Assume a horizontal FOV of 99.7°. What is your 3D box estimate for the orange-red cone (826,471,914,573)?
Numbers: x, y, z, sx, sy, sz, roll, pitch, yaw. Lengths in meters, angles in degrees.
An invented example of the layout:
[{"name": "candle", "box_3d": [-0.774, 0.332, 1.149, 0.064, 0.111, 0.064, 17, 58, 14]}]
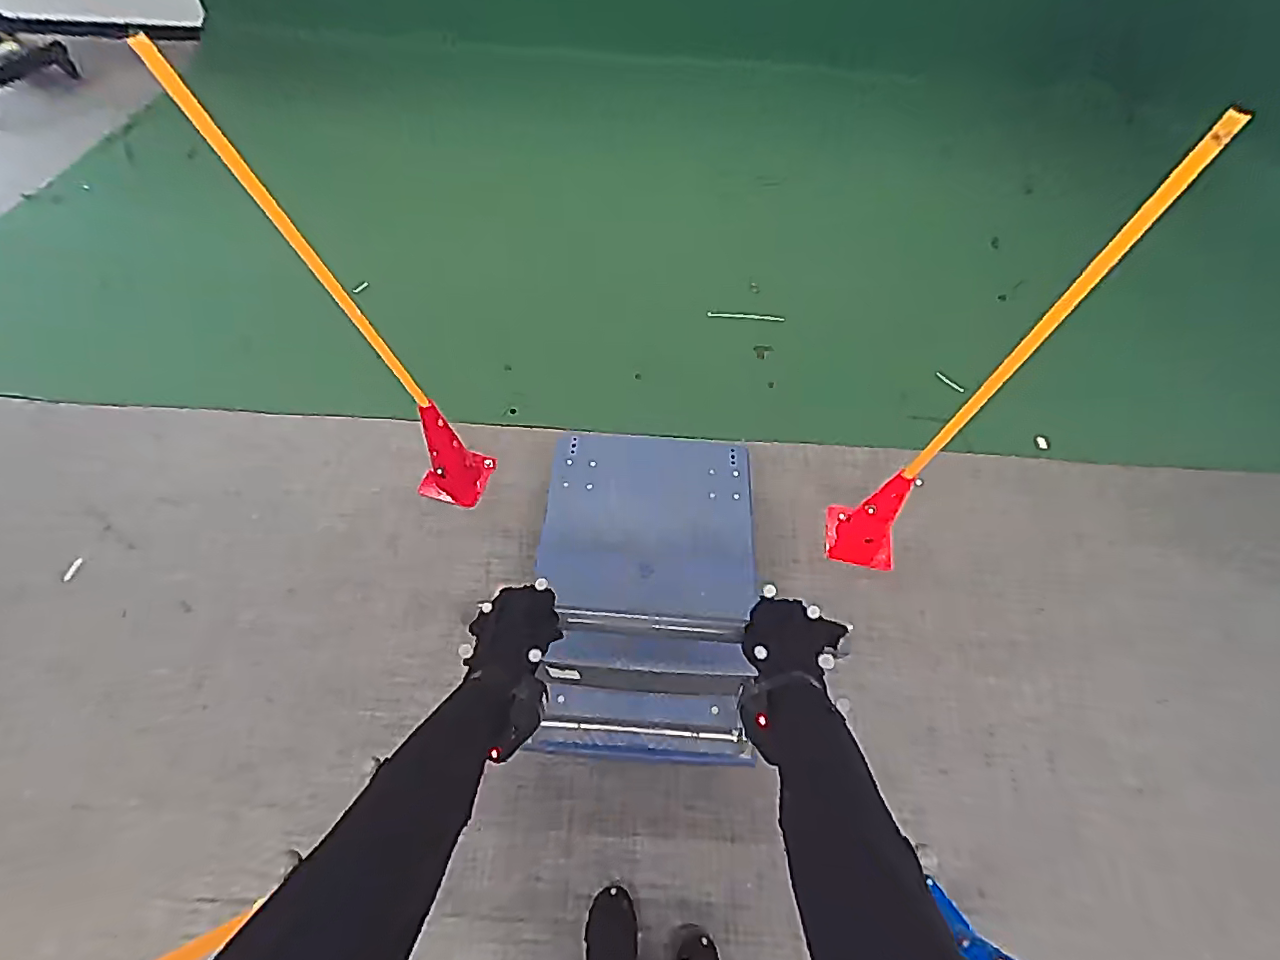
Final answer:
[{"name": "orange-red cone", "box_3d": [0.683, 0.090, 1.531, 0.198, 0.360, 0.199, 12, 58, 7]}]
